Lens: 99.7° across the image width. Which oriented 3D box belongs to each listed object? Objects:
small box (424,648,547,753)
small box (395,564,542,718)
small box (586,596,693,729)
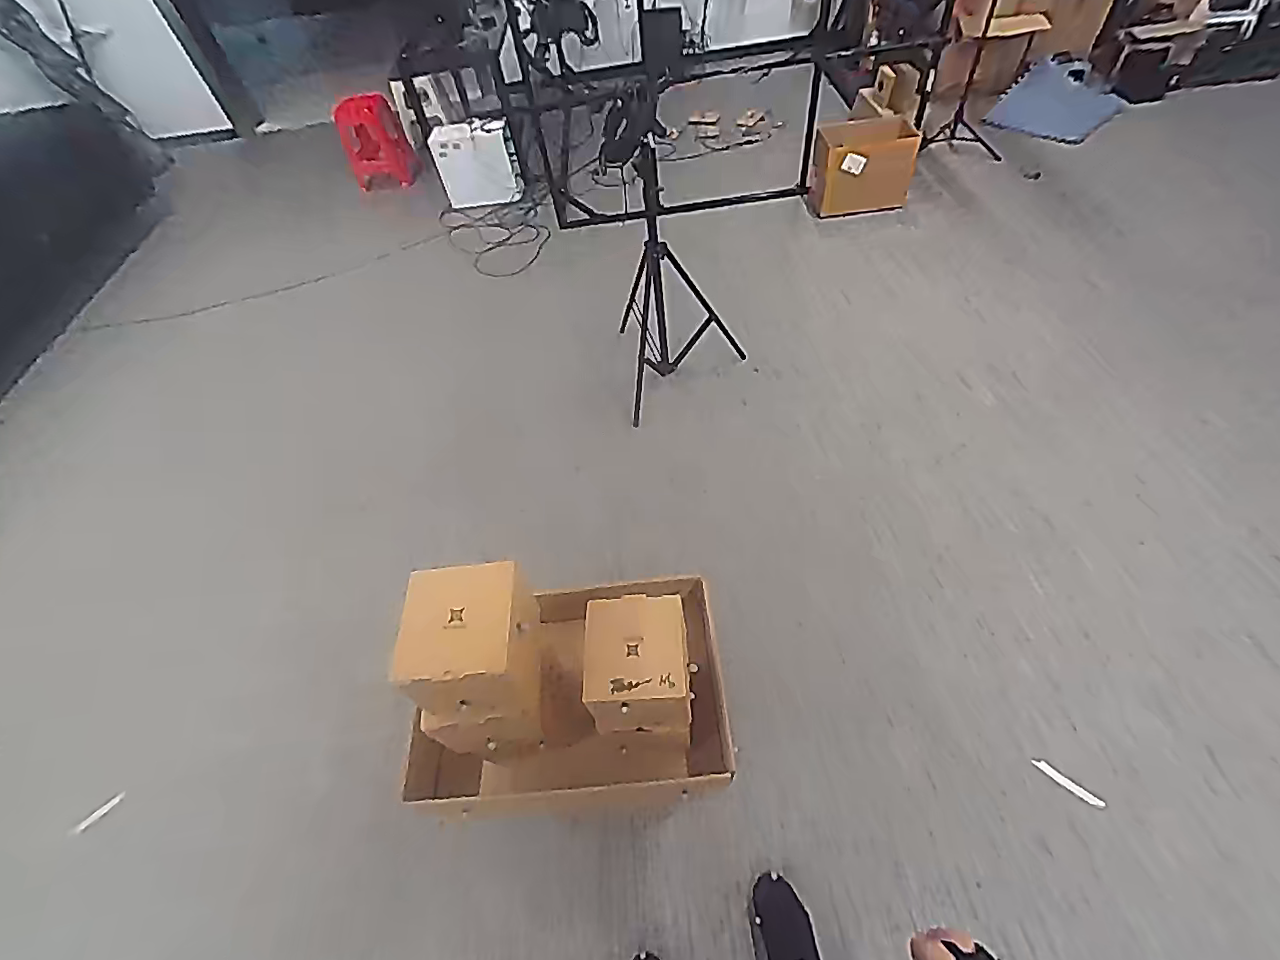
[{"bbox_3d":[-0.265,0.367,0.967,0.168,0.176,0.179,-9,53,-1],"label":"small box"},{"bbox_3d":[-0.254,0.254,0.847,0.168,0.176,0.179,-7,52,1],"label":"small box"},{"bbox_3d":[0.006,0.324,0.955,0.168,0.176,0.179,-5,52,6],"label":"small box"}]
